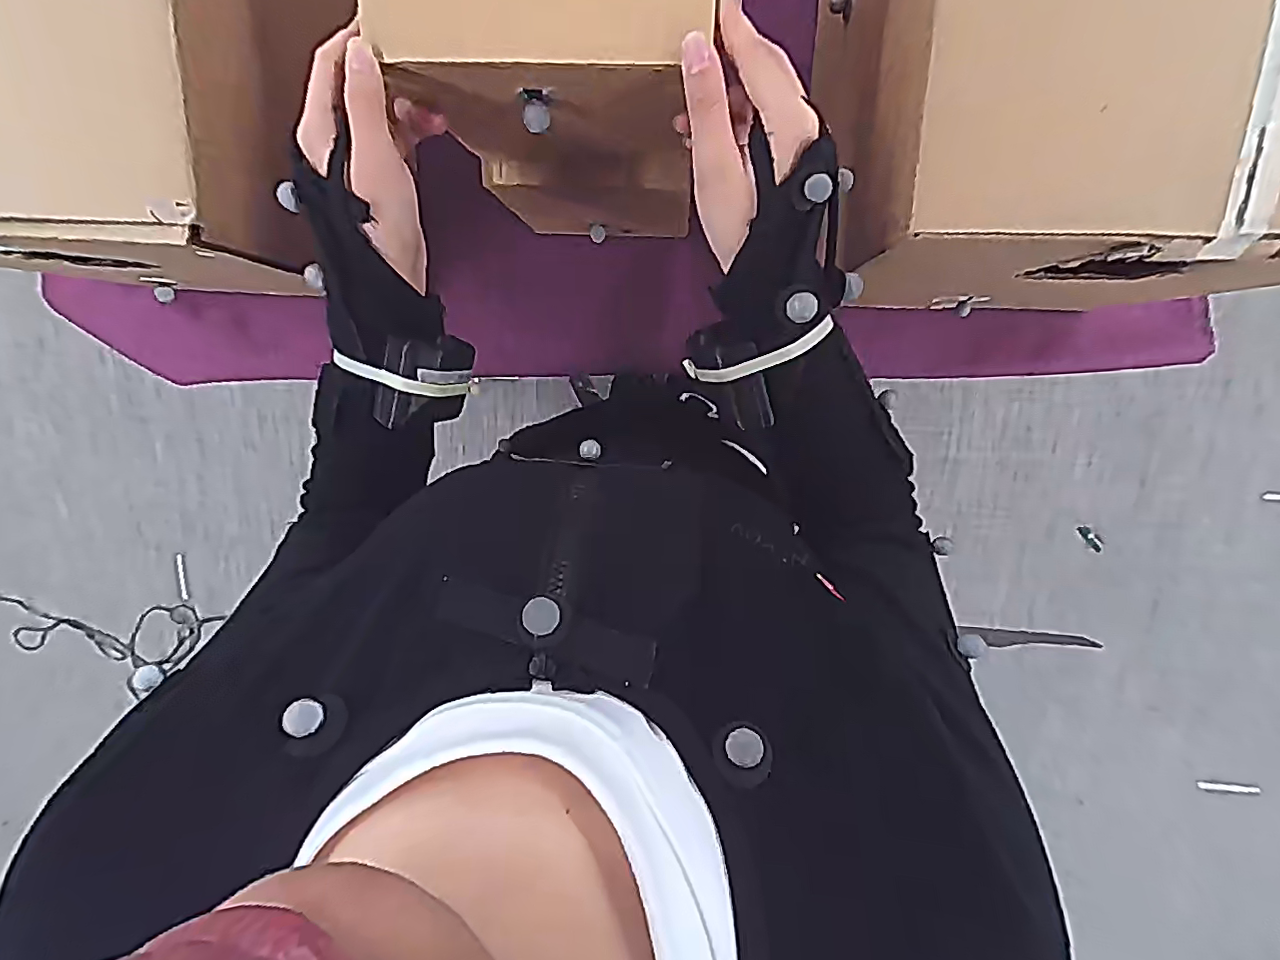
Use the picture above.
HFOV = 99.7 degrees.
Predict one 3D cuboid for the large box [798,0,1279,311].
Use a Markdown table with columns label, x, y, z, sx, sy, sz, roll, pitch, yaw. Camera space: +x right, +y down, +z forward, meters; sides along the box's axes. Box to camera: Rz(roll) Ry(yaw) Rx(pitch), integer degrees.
| label | x | y | z | sx | sy | sz | roll | pitch | yaw |
| --- | --- | --- | --- | --- | --- | --- | --- | --- | --- |
| large box | 0.307 | -0.346 | 0.387 | 0.320 | 0.320 | 0.408 | 2 | 101 | 3 |

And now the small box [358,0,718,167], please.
| label | x | y | z | sx | sy | sz | roll | pitch | yaw |
| --- | --- | --- | --- | --- | --- | --- | --- | --- | --- |
| small box | -0.041 | -0.300 | 0.318 | 0.179 | 0.176 | 0.168 | 4 | 106 | 6 |
